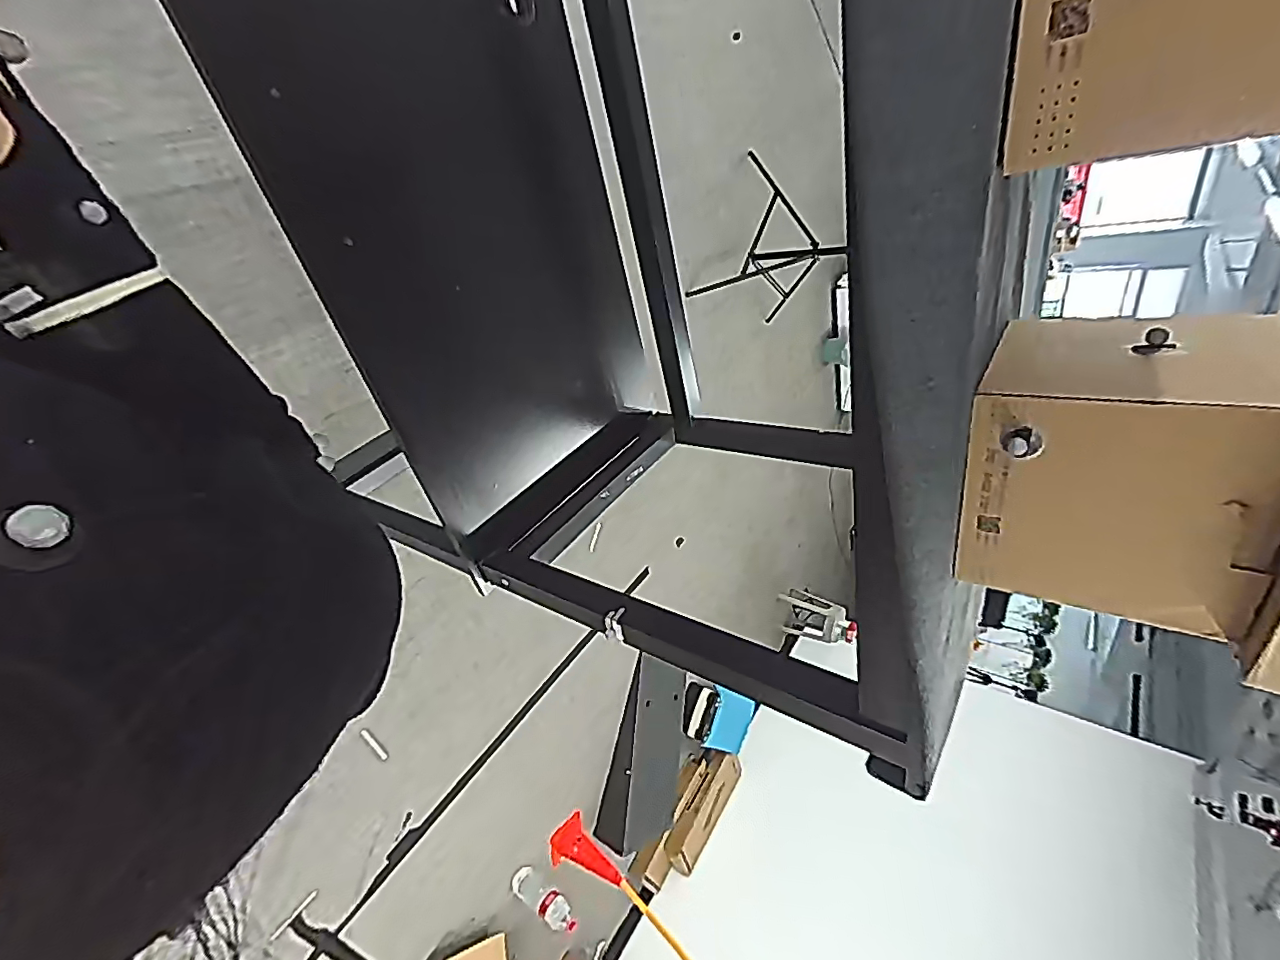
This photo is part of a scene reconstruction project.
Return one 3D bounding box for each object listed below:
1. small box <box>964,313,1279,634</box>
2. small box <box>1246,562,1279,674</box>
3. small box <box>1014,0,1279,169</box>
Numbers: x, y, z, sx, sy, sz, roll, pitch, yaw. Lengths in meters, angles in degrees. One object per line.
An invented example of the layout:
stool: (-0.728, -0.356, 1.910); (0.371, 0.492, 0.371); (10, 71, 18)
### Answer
small box: (0.362, -0.020, 0.415); (0.179, 0.176, 0.168); (-41, 130, -42)
small box: (0.473, 0.023, 0.300); (0.179, 0.176, 0.168); (-47, 135, -37)
small box: (0.294, -0.262, 0.253); (0.179, 0.176, 0.168); (-45, 132, -40)
